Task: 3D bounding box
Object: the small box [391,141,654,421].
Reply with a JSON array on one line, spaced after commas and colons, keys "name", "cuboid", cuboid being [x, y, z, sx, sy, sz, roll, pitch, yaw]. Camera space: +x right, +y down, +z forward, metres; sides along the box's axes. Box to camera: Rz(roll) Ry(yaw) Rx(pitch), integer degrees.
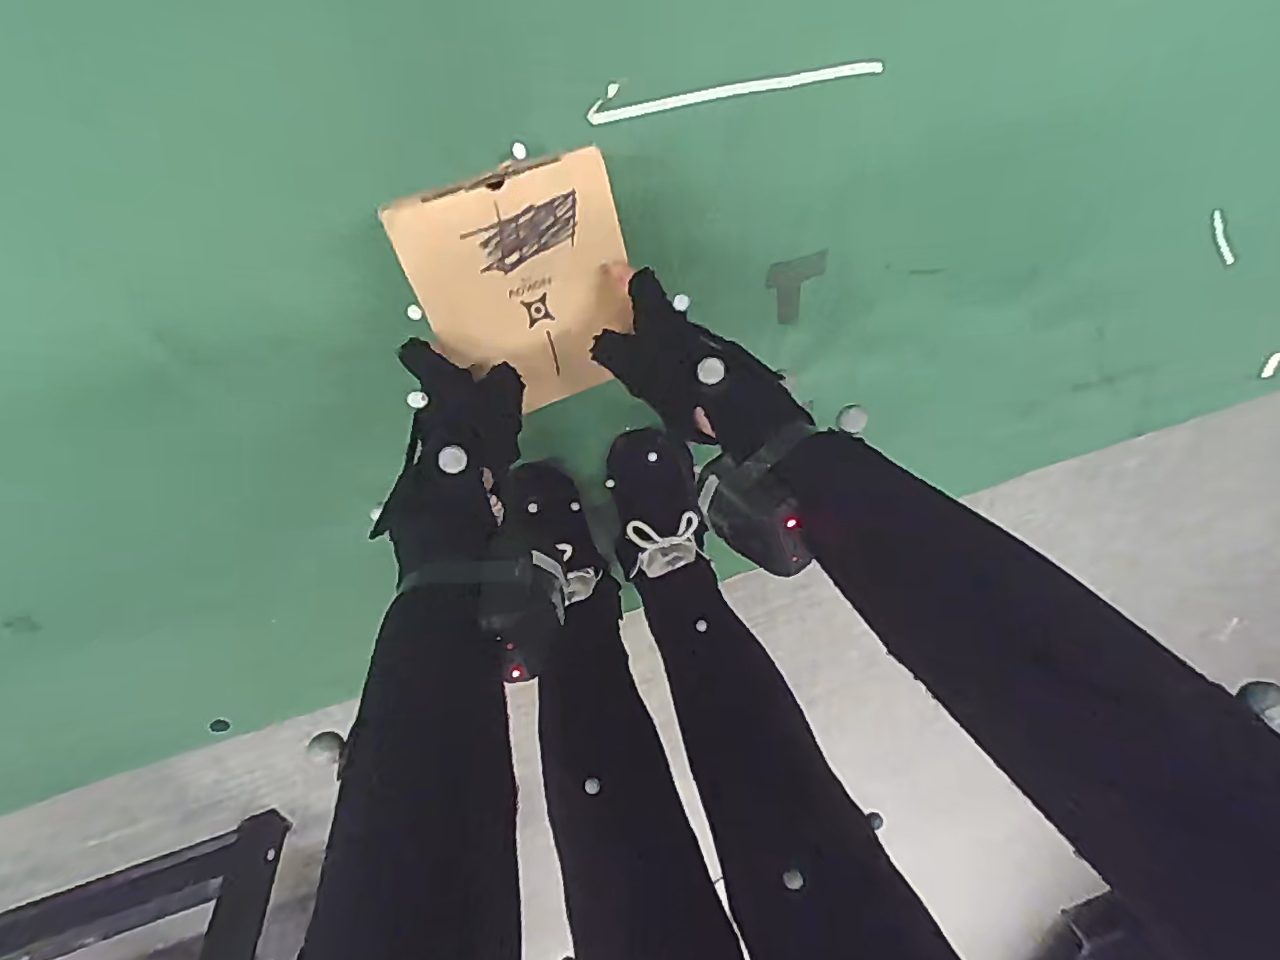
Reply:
[{"name": "small box", "cuboid": [-0.107, -0.185, 0.490, 0.168, 0.176, 0.179, -22, 125, -10]}]
